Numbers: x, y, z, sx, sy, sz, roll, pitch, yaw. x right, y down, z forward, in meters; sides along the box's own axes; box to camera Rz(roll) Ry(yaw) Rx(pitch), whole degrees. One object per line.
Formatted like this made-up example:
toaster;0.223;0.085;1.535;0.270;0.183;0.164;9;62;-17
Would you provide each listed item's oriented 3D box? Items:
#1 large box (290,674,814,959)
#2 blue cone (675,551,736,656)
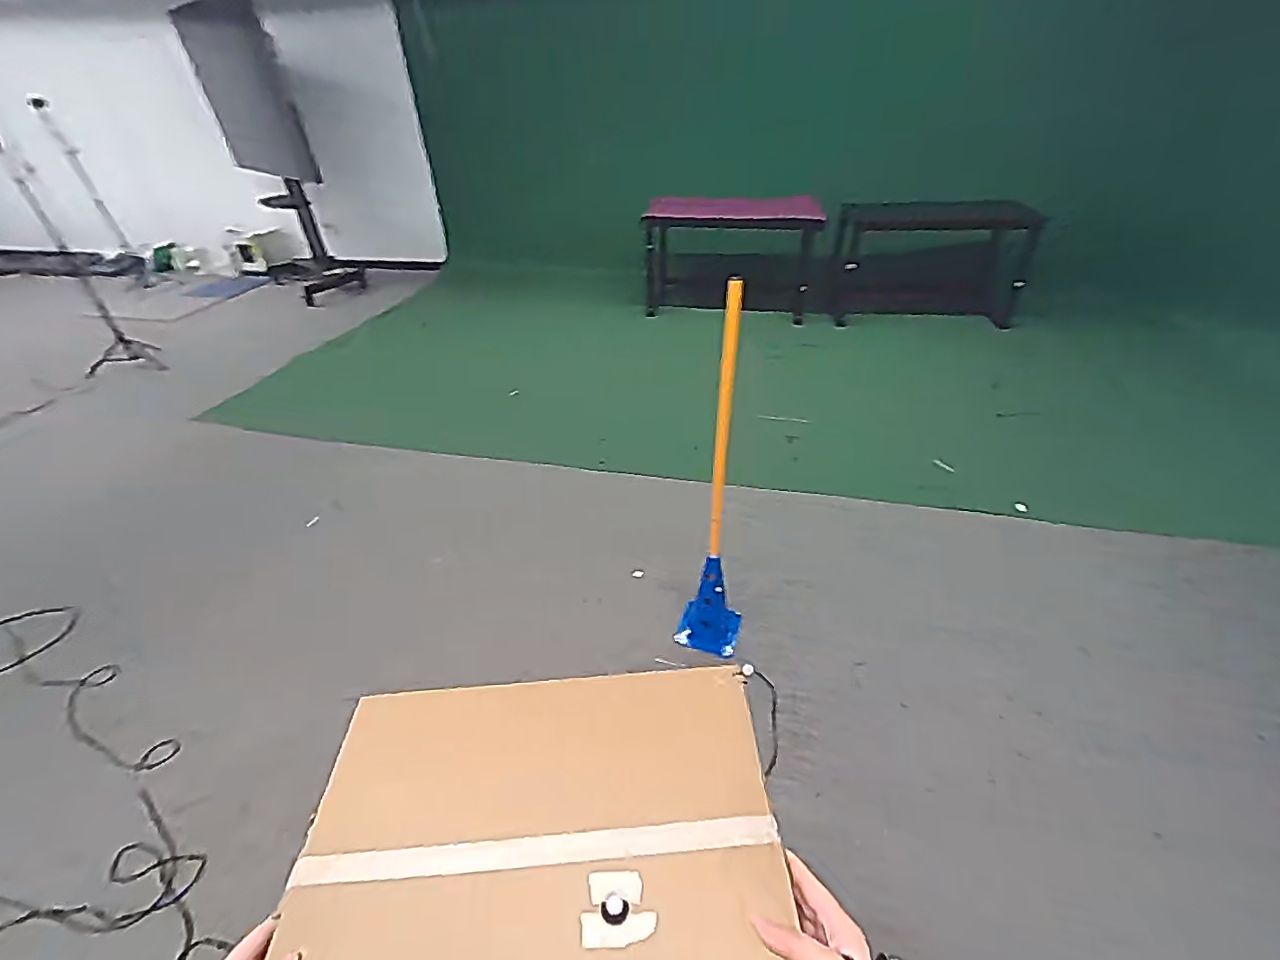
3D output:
large box;-0.068;0.434;0.554;0.408;0.320;0.320;-4;40;-1
blue cone;0.226;0.392;1.790;0.193;0.380;0.192;12;38;18
